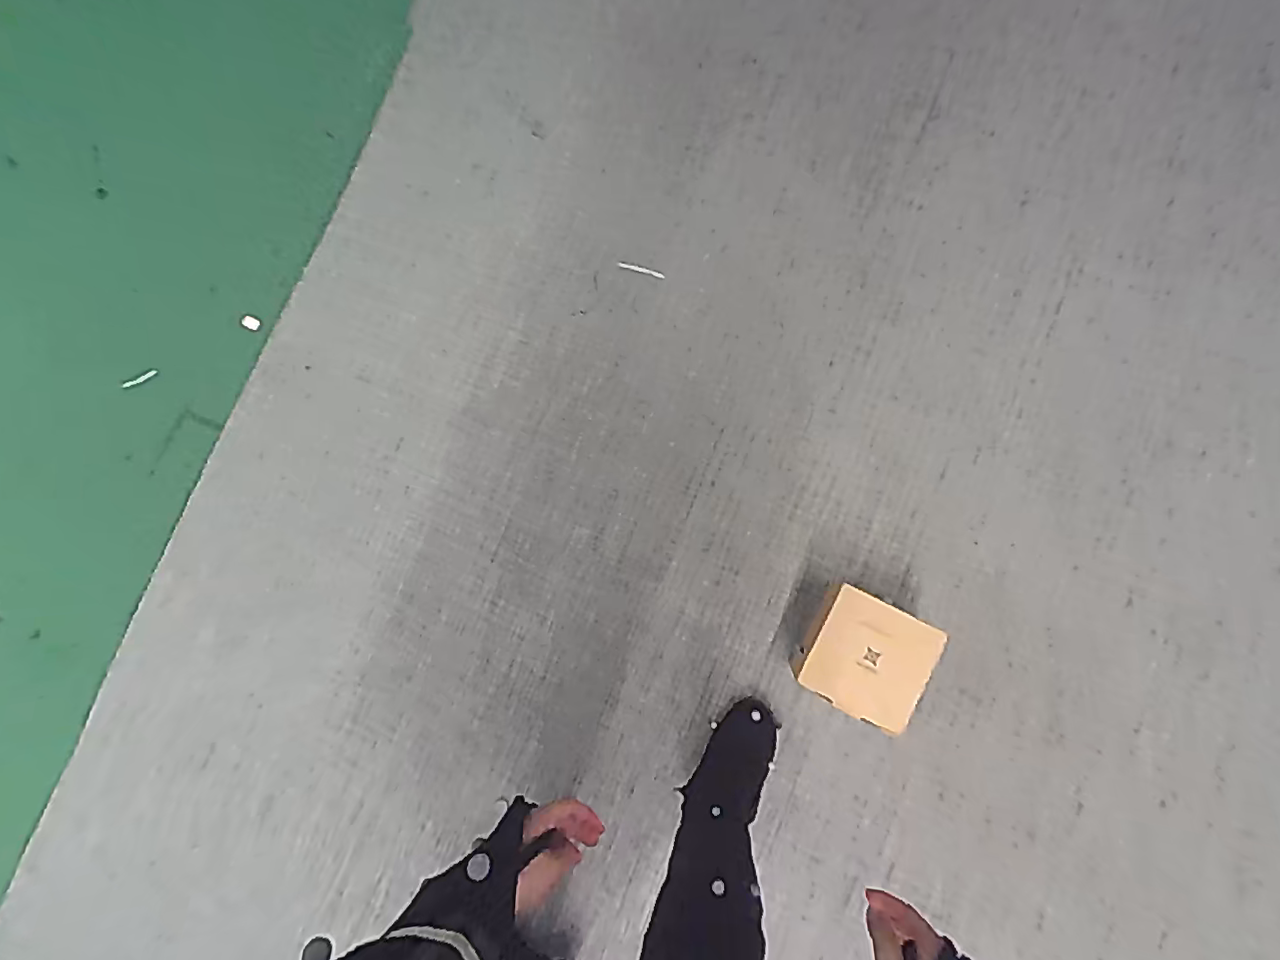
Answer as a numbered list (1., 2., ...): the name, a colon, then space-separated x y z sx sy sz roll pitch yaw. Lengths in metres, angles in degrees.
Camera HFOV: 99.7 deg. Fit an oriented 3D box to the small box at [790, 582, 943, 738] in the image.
1. small box: 0.361 0.284 0.898 0.168 0.176 0.179 26 86 14
